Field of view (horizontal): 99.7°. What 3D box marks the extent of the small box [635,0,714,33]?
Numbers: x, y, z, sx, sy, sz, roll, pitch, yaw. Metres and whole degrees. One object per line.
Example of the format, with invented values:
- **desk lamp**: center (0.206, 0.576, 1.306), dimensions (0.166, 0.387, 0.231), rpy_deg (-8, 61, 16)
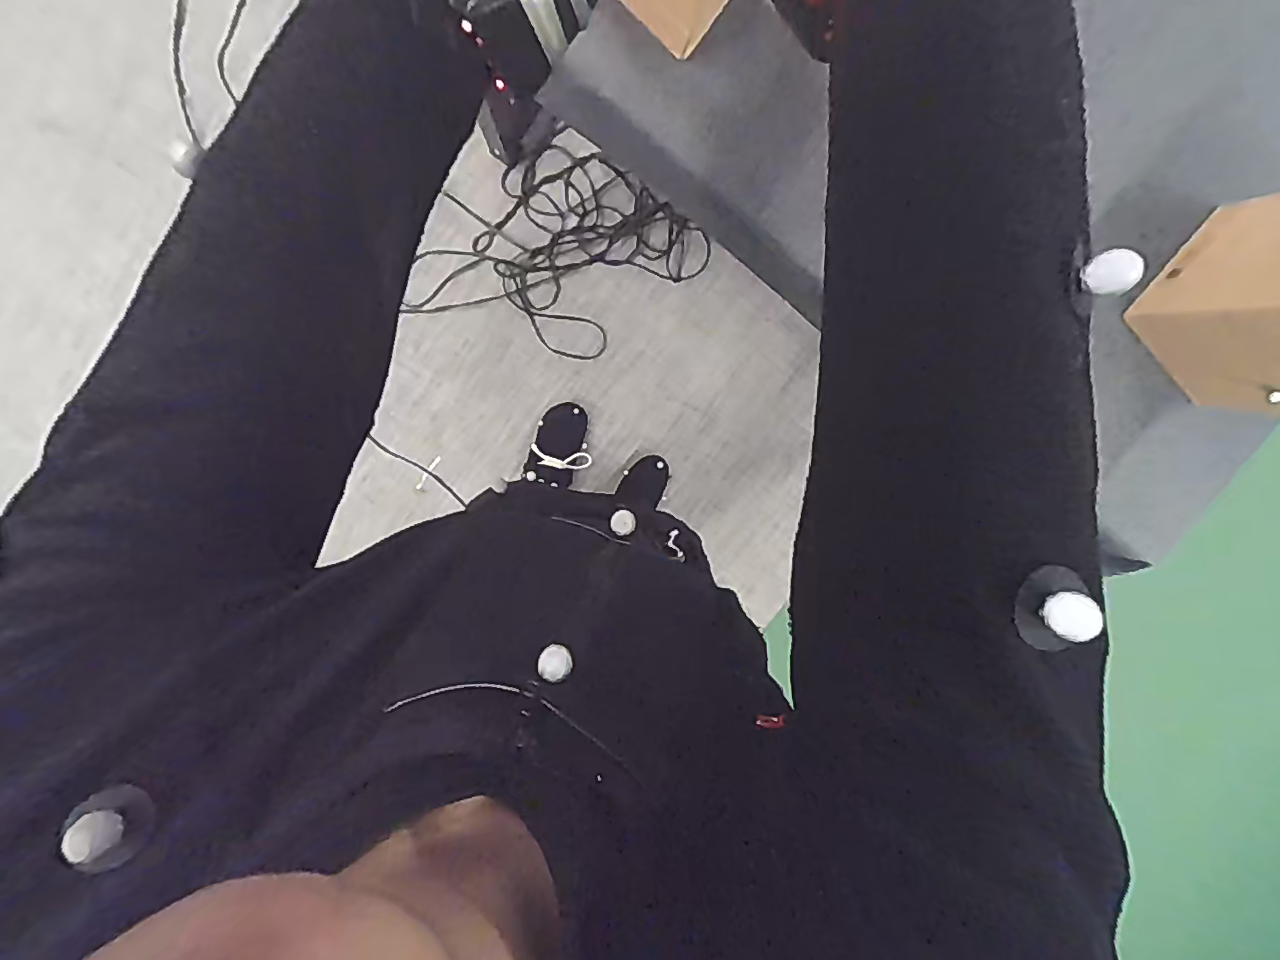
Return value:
- **small box**: center (0.032, -0.512, 0.415), dimensions (0.179, 0.176, 0.168), rpy_deg (36, 97, -15)
